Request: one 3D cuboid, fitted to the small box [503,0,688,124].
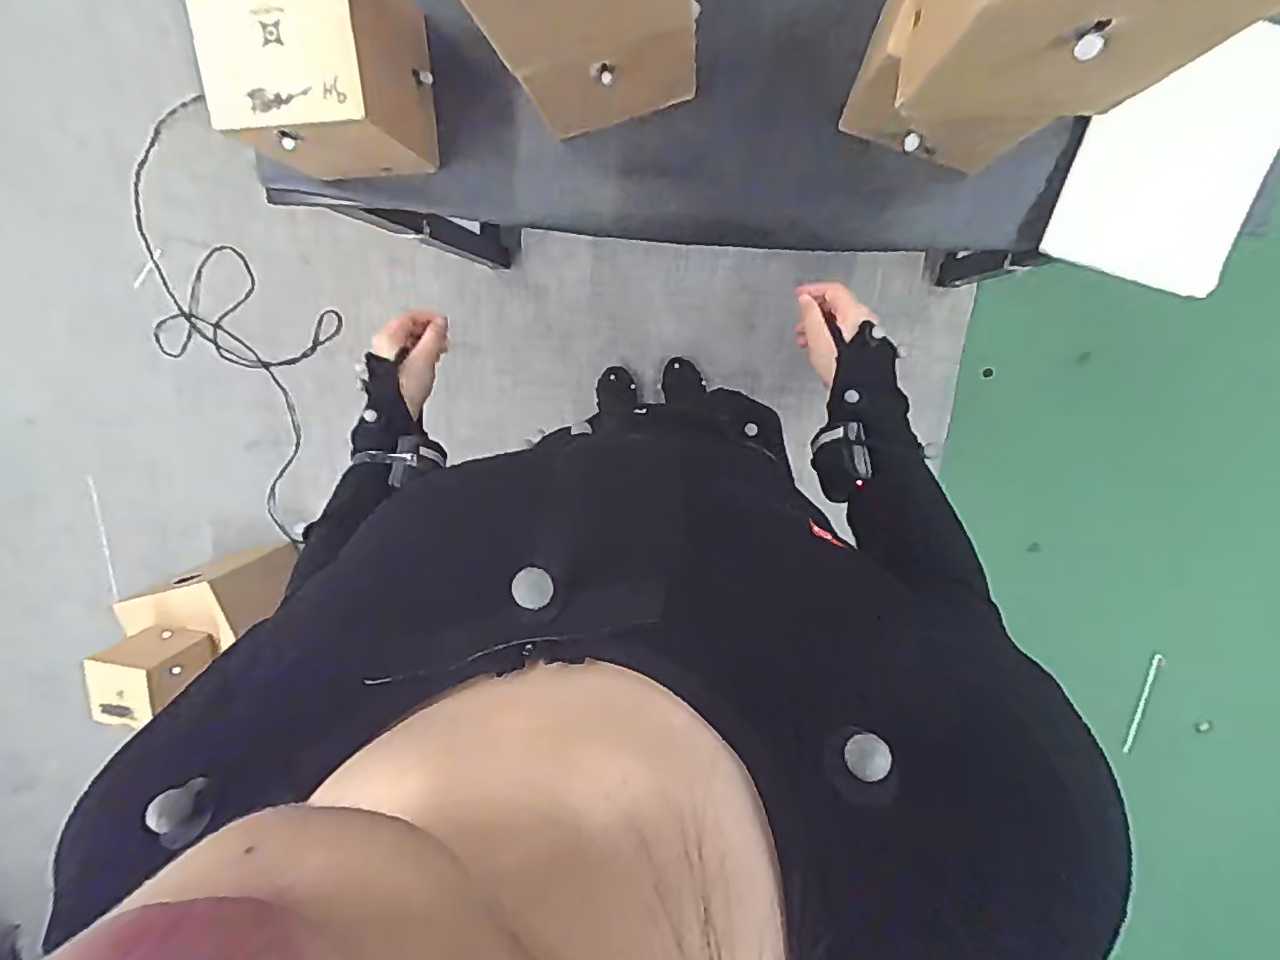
[{"bbox_3d":[-0.051,-0.504,0.557,0.179,0.176,0.168,-12,103,9],"label":"small box"}]

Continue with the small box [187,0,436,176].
[{"bbox_3d":[-0.349,-0.463,0.599,0.168,0.176,0.179,-1,104,7],"label":"small box"}]

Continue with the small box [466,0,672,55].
[{"bbox_3d":[-0.070,-0.461,0.399,0.179,0.176,0.168,-9,103,9],"label":"small box"}]

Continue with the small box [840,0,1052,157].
[{"bbox_3d":[0.316,-0.453,0.523,0.168,0.176,0.179,20,105,2],"label":"small box"}]
